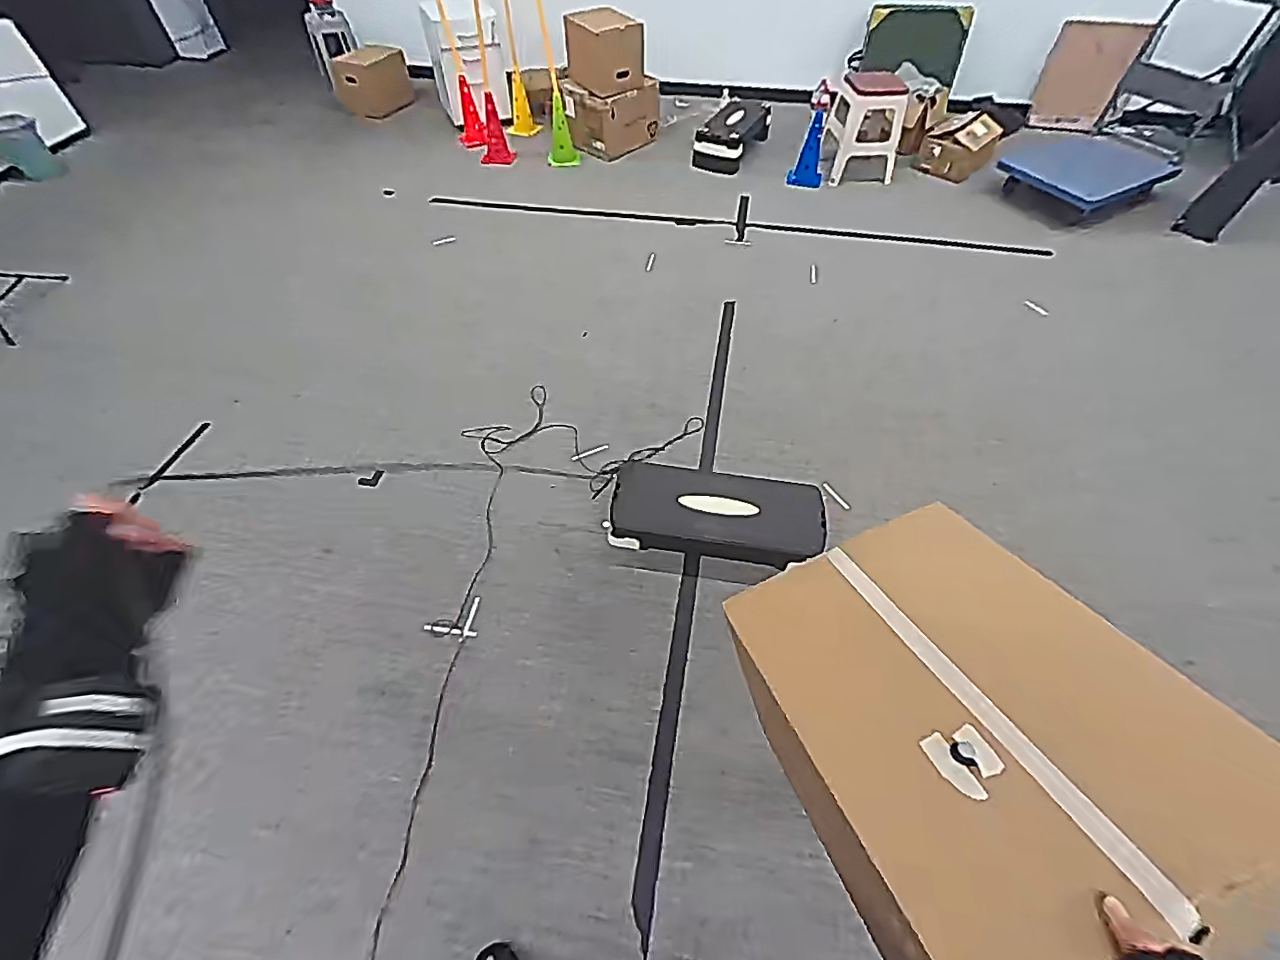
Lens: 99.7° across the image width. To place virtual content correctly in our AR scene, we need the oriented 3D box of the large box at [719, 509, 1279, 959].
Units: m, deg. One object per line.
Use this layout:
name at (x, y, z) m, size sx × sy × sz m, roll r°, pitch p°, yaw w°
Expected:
large box at (0.335, 0.306, 0.612) m, size 0.320 × 0.320 × 0.408 m, roll -25°, pitch 35°, yaw -4°
